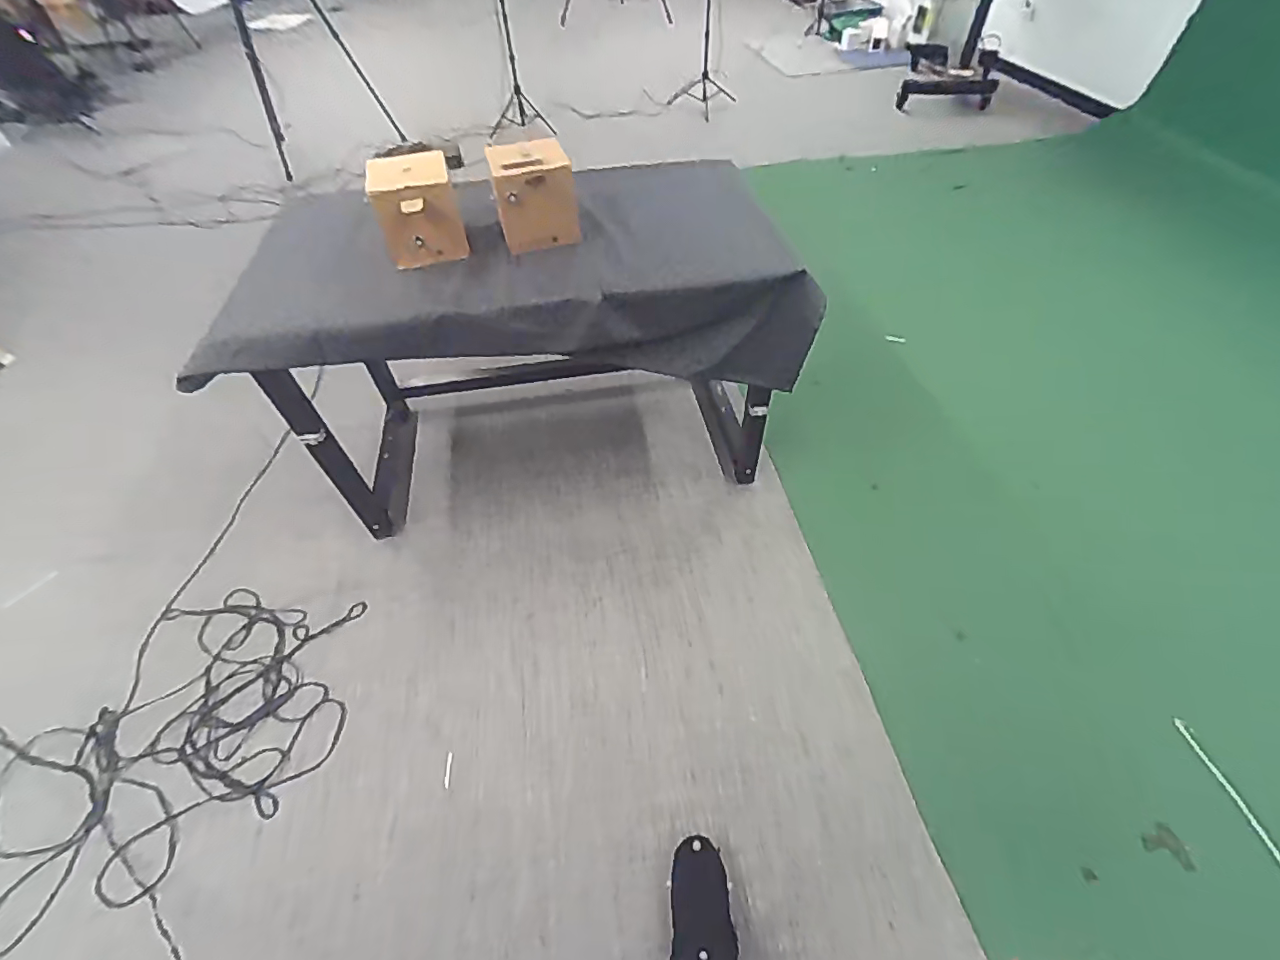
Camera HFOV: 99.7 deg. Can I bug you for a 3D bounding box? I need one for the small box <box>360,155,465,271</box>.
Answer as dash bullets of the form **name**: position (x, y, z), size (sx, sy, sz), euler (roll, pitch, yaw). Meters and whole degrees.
- **small box**: position (-0.496, -0.587, 1.191), size (0.168, 0.176, 0.179), euler (-15, 52, -10)
